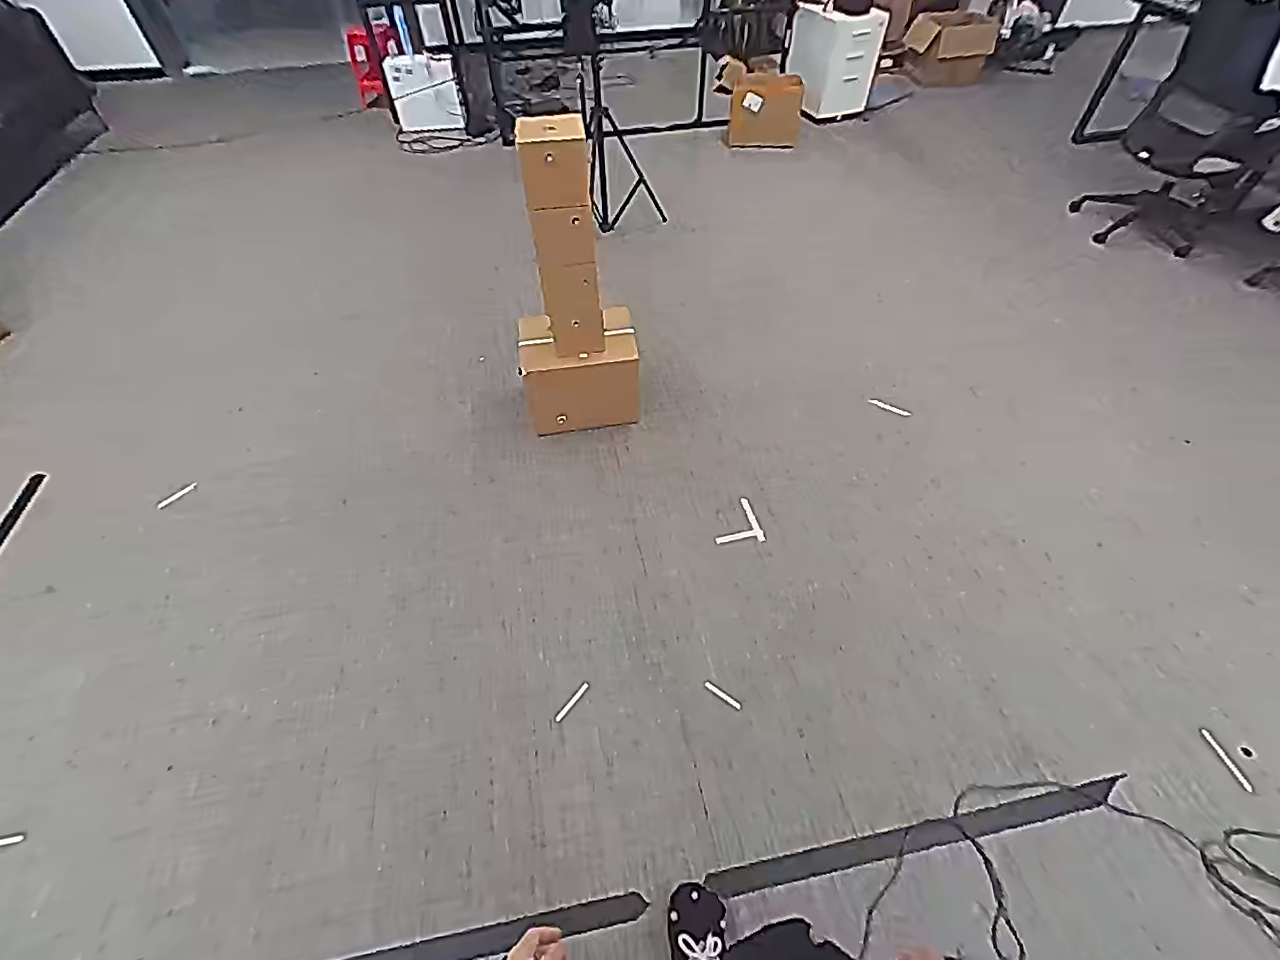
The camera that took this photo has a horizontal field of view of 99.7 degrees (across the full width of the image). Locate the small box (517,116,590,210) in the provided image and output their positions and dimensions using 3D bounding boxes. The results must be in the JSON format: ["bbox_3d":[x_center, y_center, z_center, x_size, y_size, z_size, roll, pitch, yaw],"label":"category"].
[{"bbox_3d":[-0.229,-0.847,1.452,0.179,0.176,0.168,-7,53,-4],"label":"small box"}]

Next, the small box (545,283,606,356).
[{"bbox_3d":[-0.217,-0.541,1.835,0.179,0.176,0.168,-9,53,-7],"label":"small box"}]

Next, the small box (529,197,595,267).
[{"bbox_3d":[-0.226,-0.746,1.579,0.179,0.176,0.168,-7,52,-4],"label":"small box"}]
